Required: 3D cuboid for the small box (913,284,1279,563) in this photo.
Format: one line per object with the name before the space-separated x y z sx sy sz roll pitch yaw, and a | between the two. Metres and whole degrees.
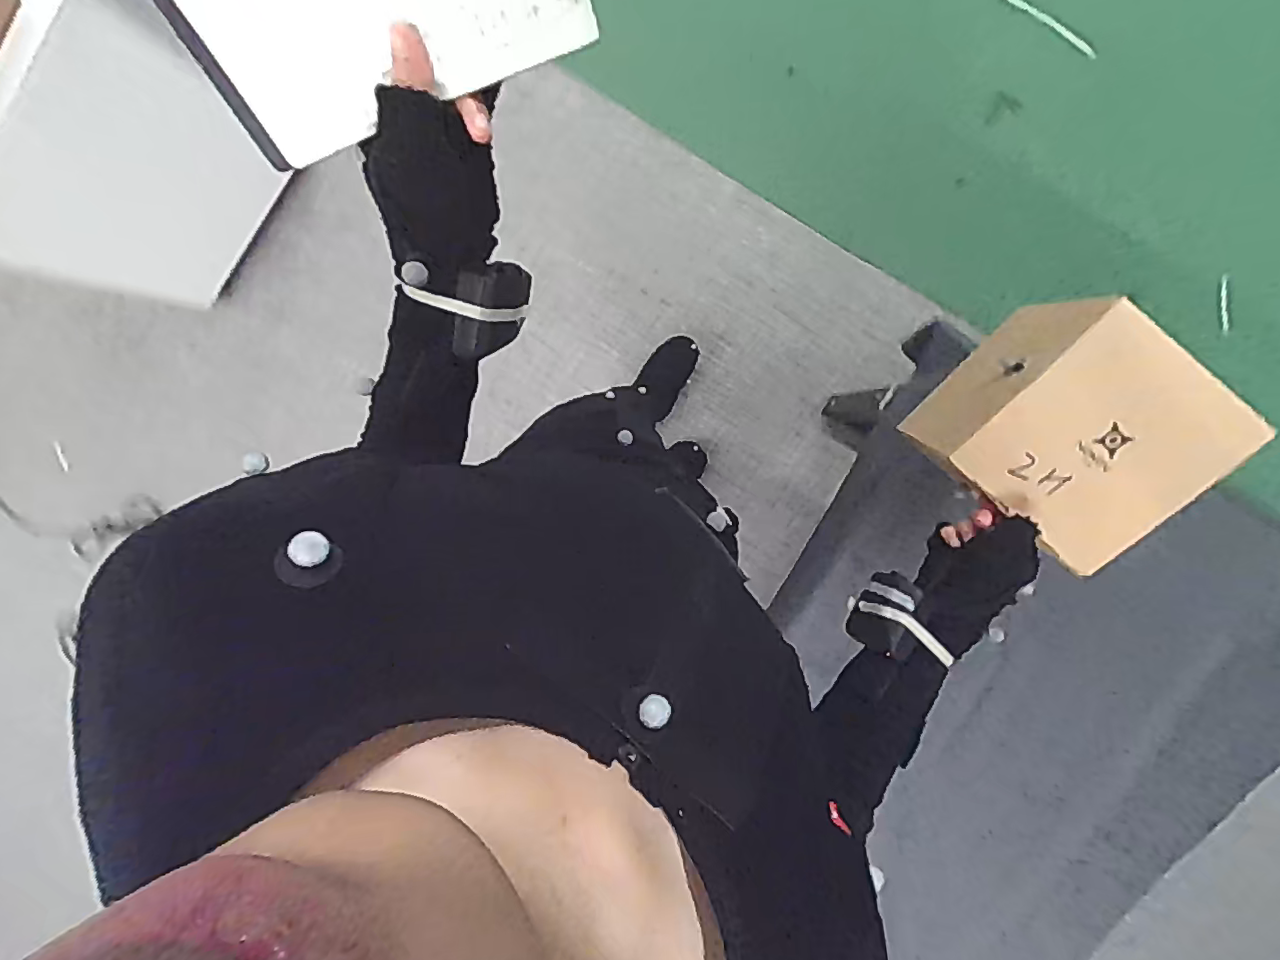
small box | 0.403 -0.060 0.520 0.168 0.176 0.179 40 109 -1
